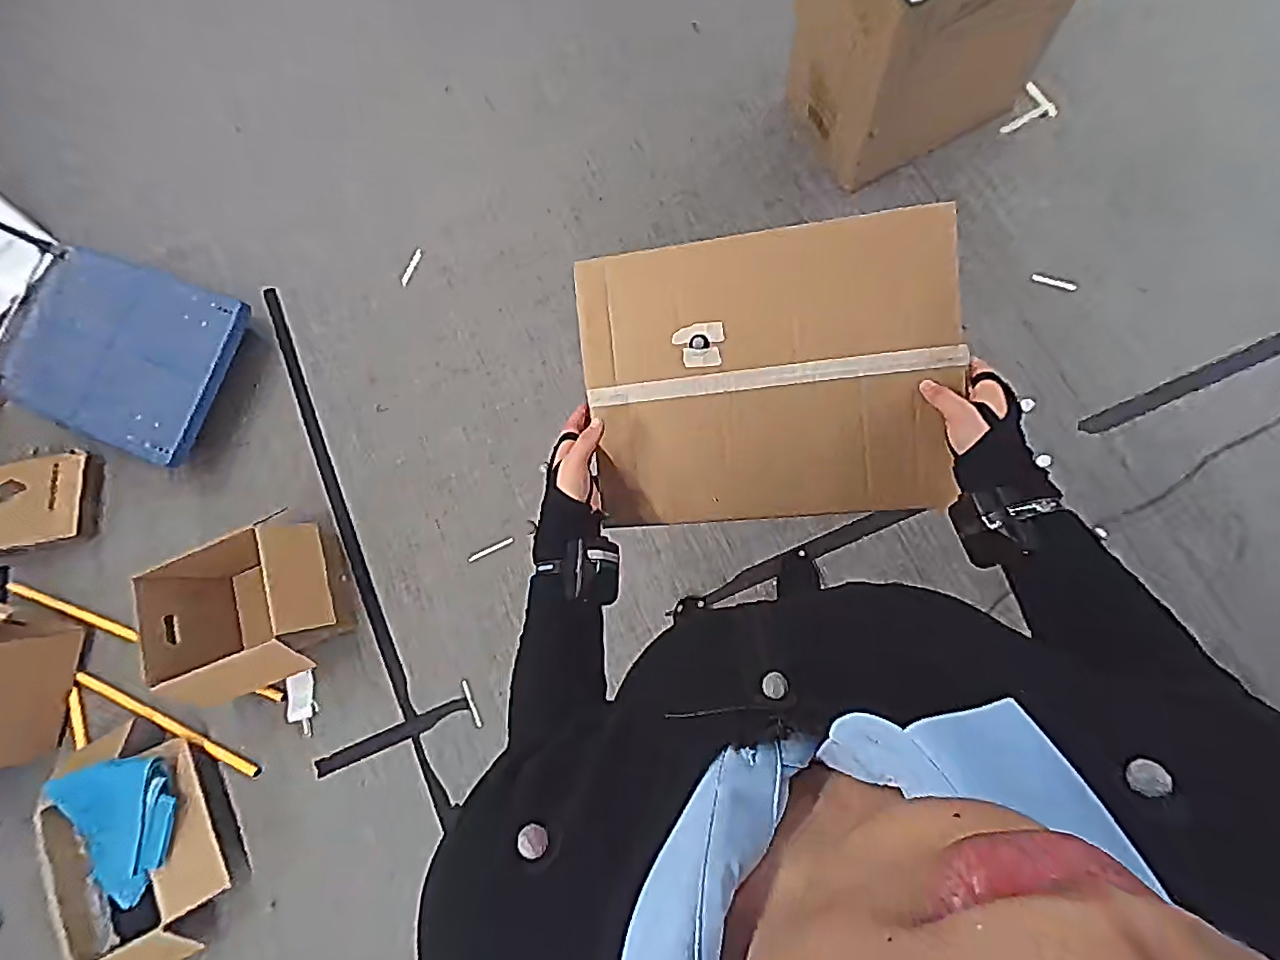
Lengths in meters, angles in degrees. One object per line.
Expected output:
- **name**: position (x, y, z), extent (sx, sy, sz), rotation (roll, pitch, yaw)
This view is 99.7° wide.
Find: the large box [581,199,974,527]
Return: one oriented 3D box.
- **large box**: position (0.171, -0.130, 0.735), extent (0.408, 0.320, 0.320), rotation (-5, 95, 12)
